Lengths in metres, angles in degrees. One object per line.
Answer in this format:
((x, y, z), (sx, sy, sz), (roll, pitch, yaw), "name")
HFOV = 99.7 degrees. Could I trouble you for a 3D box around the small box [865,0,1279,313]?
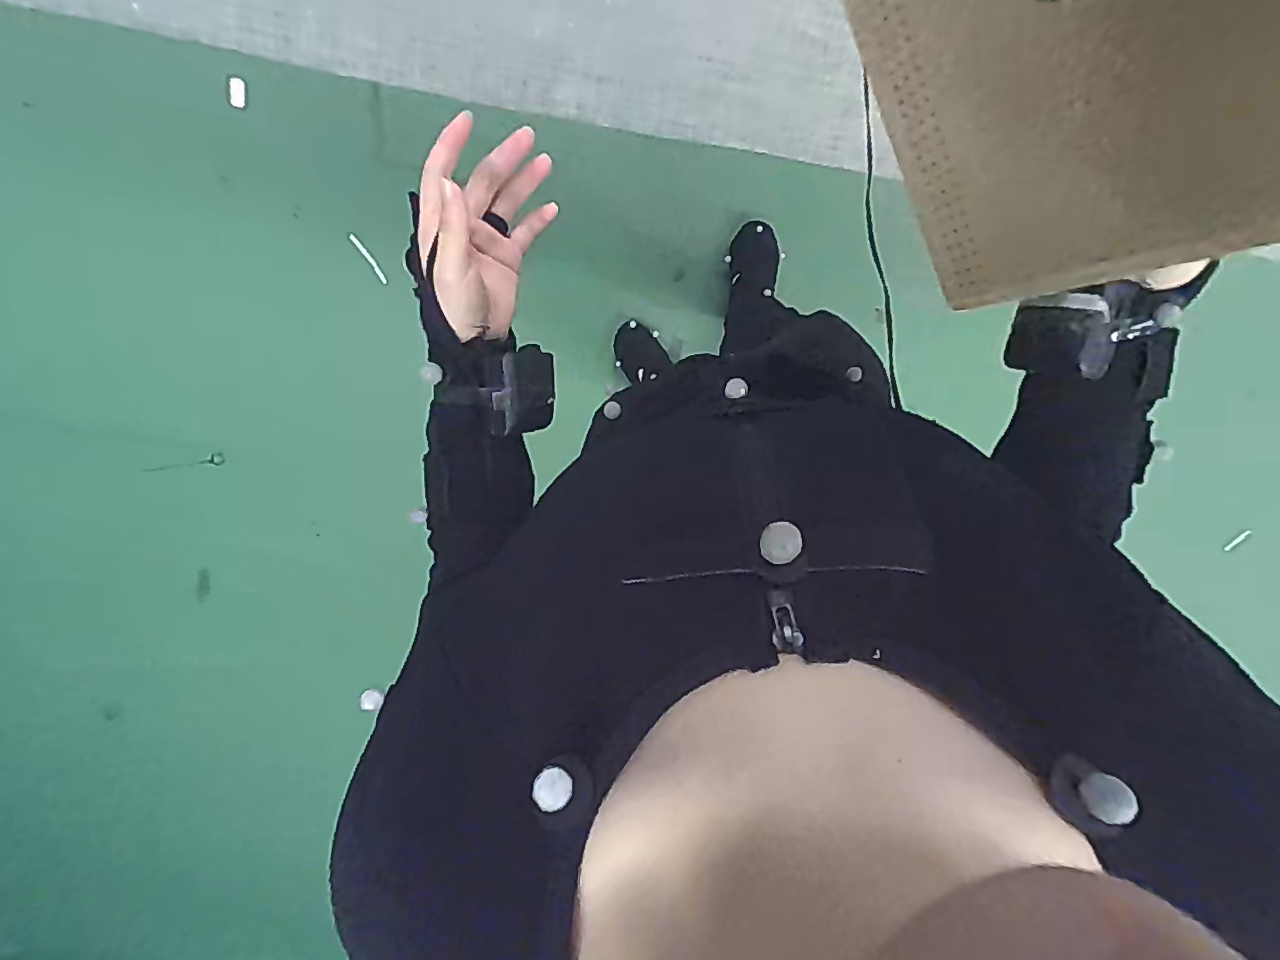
((0.220, -0.188, 0.203), (0.168, 0.176, 0.179), (-29, 101, -5), "small box")
